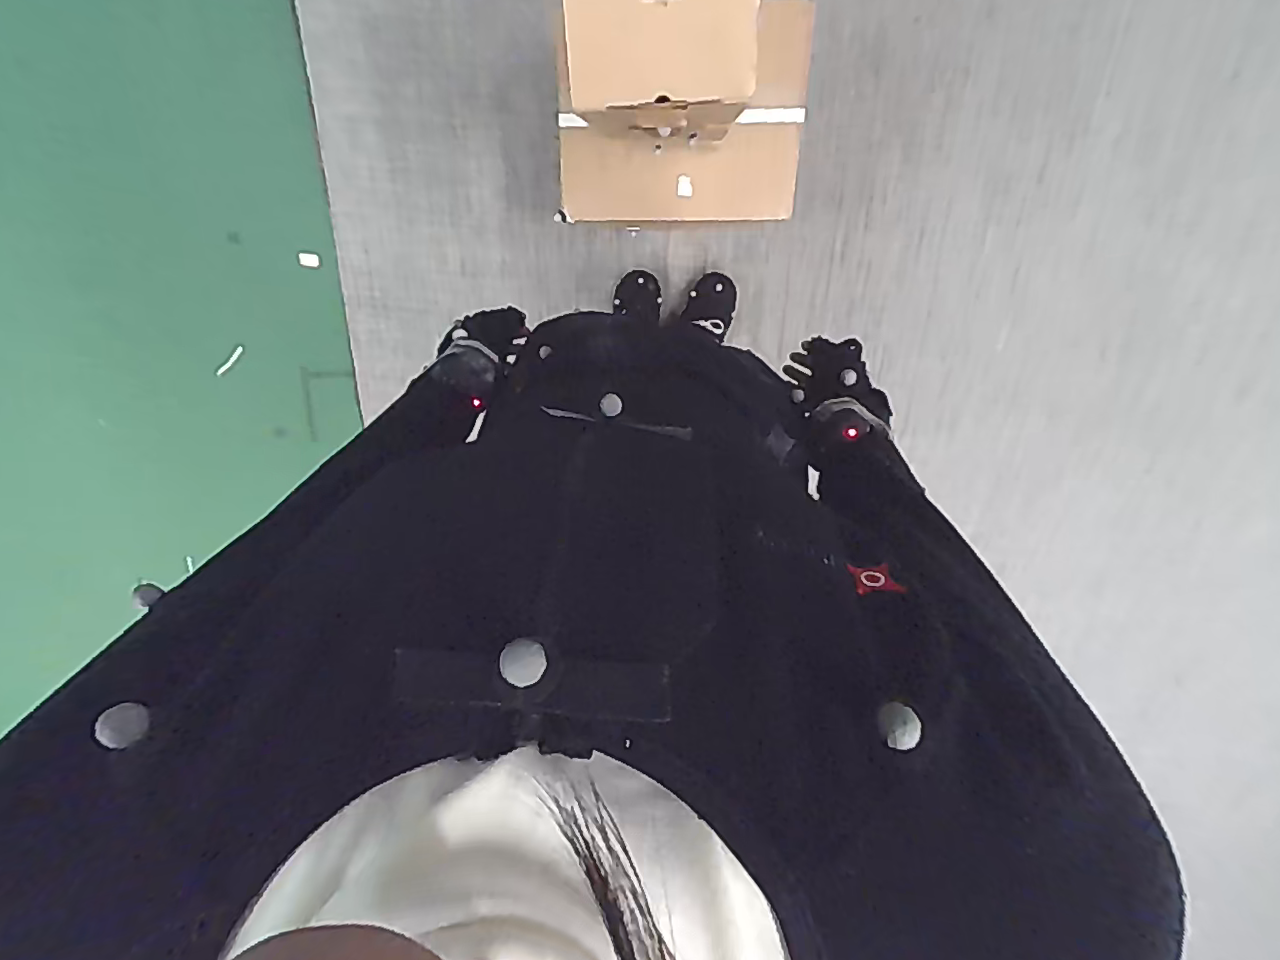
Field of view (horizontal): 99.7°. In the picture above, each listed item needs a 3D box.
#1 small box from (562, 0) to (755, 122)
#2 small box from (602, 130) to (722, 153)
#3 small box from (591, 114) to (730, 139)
[{"bbox_3d":[0.020,-0.452,0.516,0.168,0.176,0.179,-1,119,4],"label":"small box"},{"bbox_3d":[0.041,-0.595,0.804,0.179,0.176,0.168,8,117,1],"label":"small box"},{"bbox_3d":[0.029,-0.525,0.662,0.168,0.176,0.179,1,117,3],"label":"small box"}]
